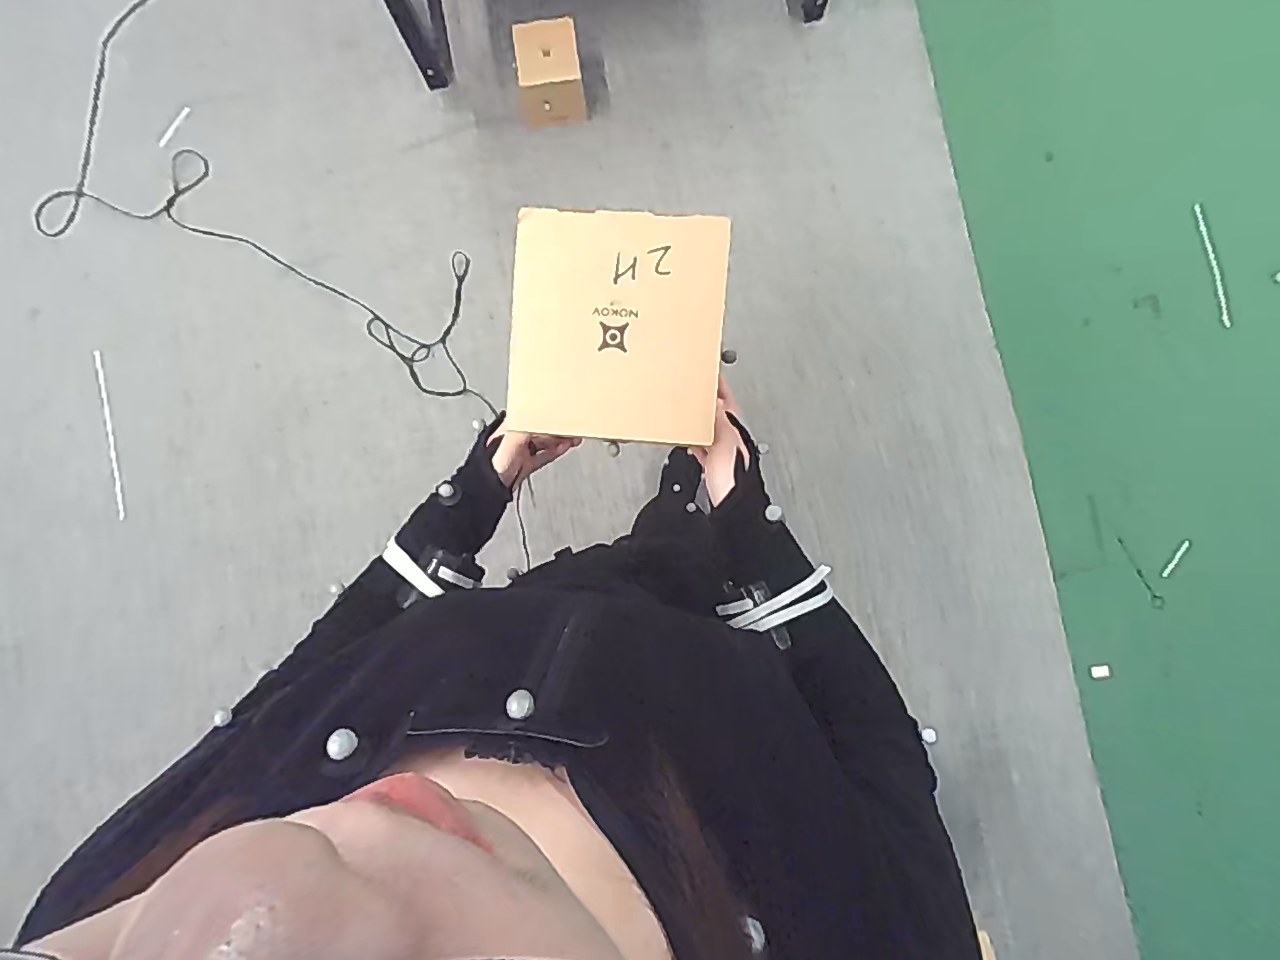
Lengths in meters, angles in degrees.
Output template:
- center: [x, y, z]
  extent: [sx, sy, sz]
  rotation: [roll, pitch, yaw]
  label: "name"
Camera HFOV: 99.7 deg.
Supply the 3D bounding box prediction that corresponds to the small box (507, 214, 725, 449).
- center: [-0.015, -0.125, 0.512]
  extent: [0.168, 0.176, 0.179]
  rotation: [6, 94, 4]
  label: "small box"
